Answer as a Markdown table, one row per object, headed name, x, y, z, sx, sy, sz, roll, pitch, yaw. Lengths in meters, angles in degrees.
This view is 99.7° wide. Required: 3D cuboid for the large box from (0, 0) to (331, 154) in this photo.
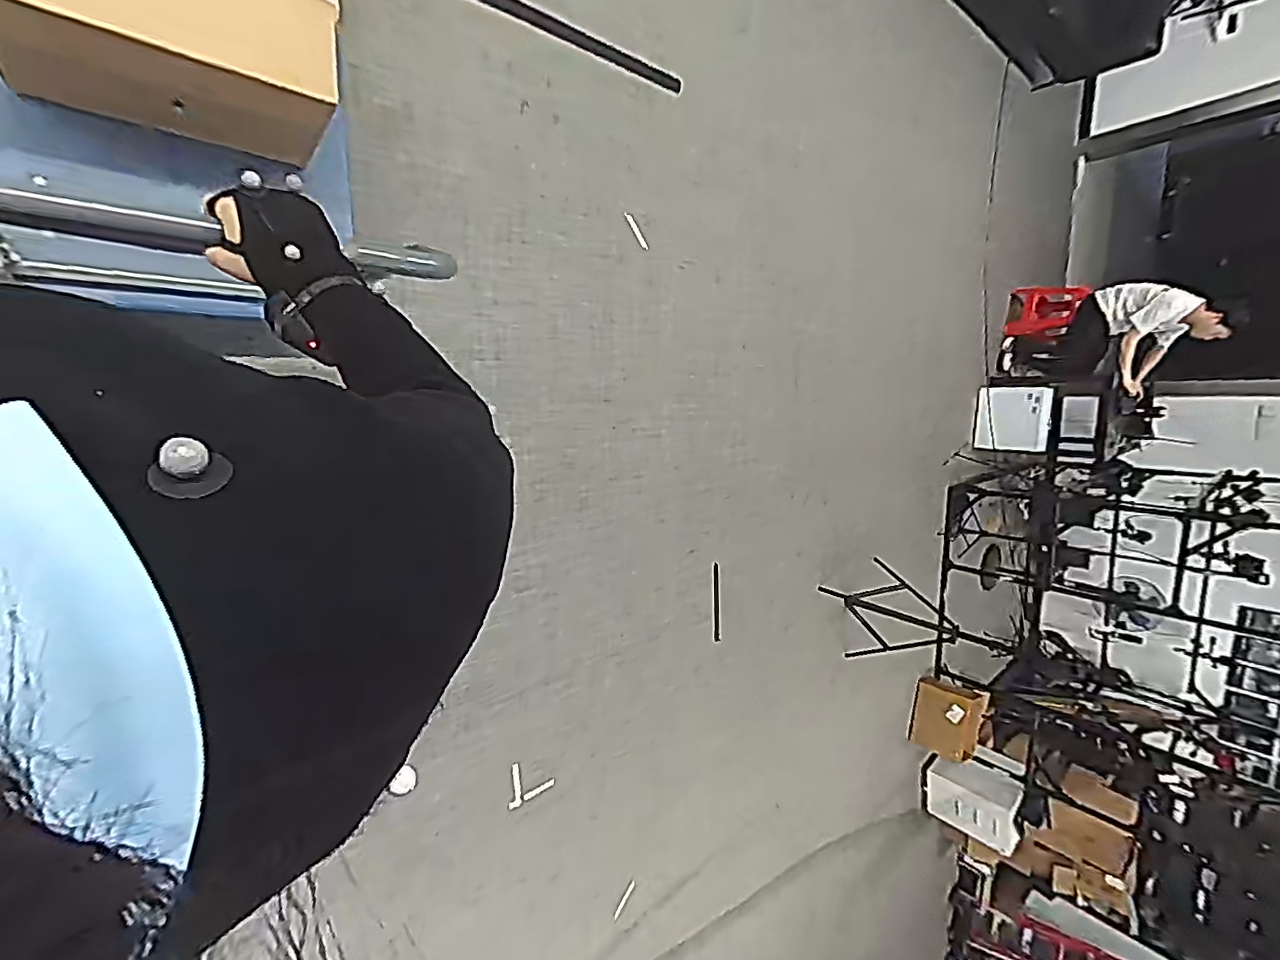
| name | x | y | z | sx | sy | sz | roll | pitch | yaw |
| --- | --- | --- | --- | --- | --- | --- | --- | --- | --- |
| large box | -0.748 | -0.772 | 0.845 | 0.408 | 0.320 | 0.320 | -6 | 100 | -39 |
